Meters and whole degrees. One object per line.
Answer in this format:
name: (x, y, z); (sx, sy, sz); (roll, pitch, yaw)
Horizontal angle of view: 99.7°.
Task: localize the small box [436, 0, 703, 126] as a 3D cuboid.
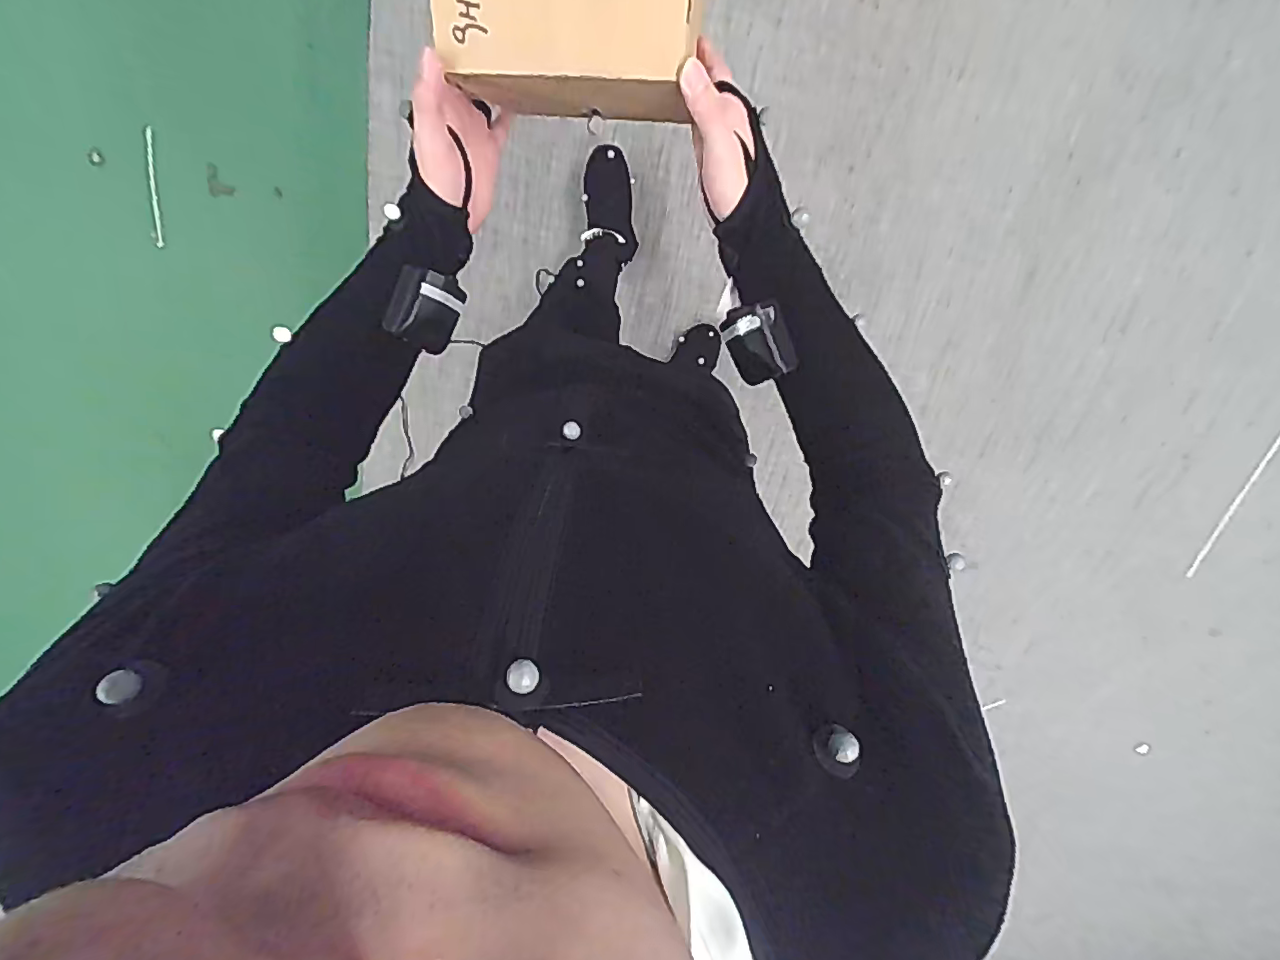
small box: (-0.039, -0.380, 0.406); (0.179, 0.176, 0.168); (6, 114, 4)
